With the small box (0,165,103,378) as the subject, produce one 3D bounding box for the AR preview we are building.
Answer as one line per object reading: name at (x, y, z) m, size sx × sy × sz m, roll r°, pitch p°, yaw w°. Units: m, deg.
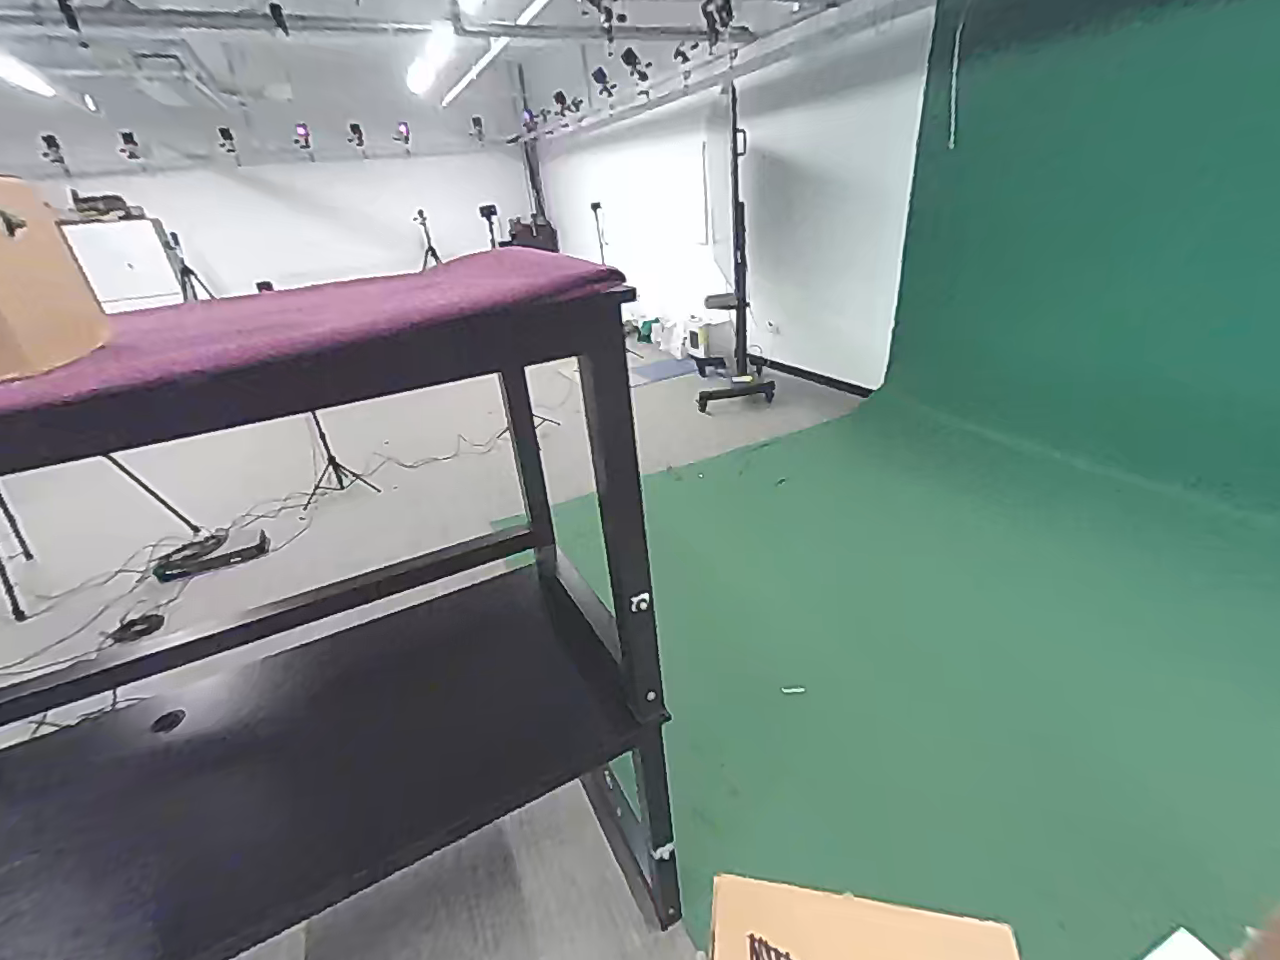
small box at (-0.635, -0.177, 0.472) m, size 0.168 × 0.176 × 0.179 m, roll -15°, pitch 28°, yaw -19°
